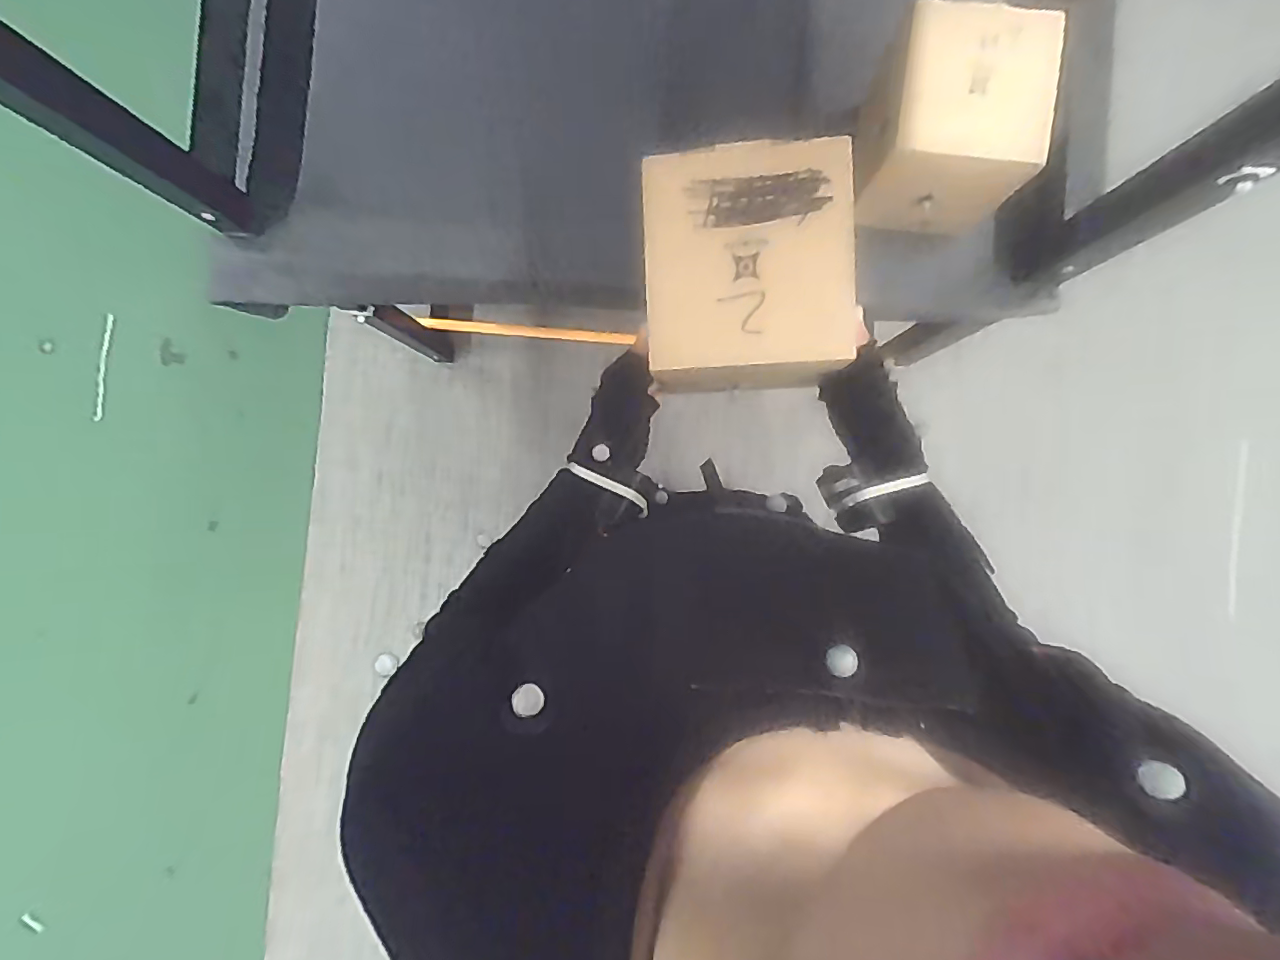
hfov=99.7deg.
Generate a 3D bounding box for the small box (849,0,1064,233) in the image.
[{"bbox_3d":[0.378,-0.437,0.679,0.168,0.176,0.179,8,89,2],"label":"small box"}]
